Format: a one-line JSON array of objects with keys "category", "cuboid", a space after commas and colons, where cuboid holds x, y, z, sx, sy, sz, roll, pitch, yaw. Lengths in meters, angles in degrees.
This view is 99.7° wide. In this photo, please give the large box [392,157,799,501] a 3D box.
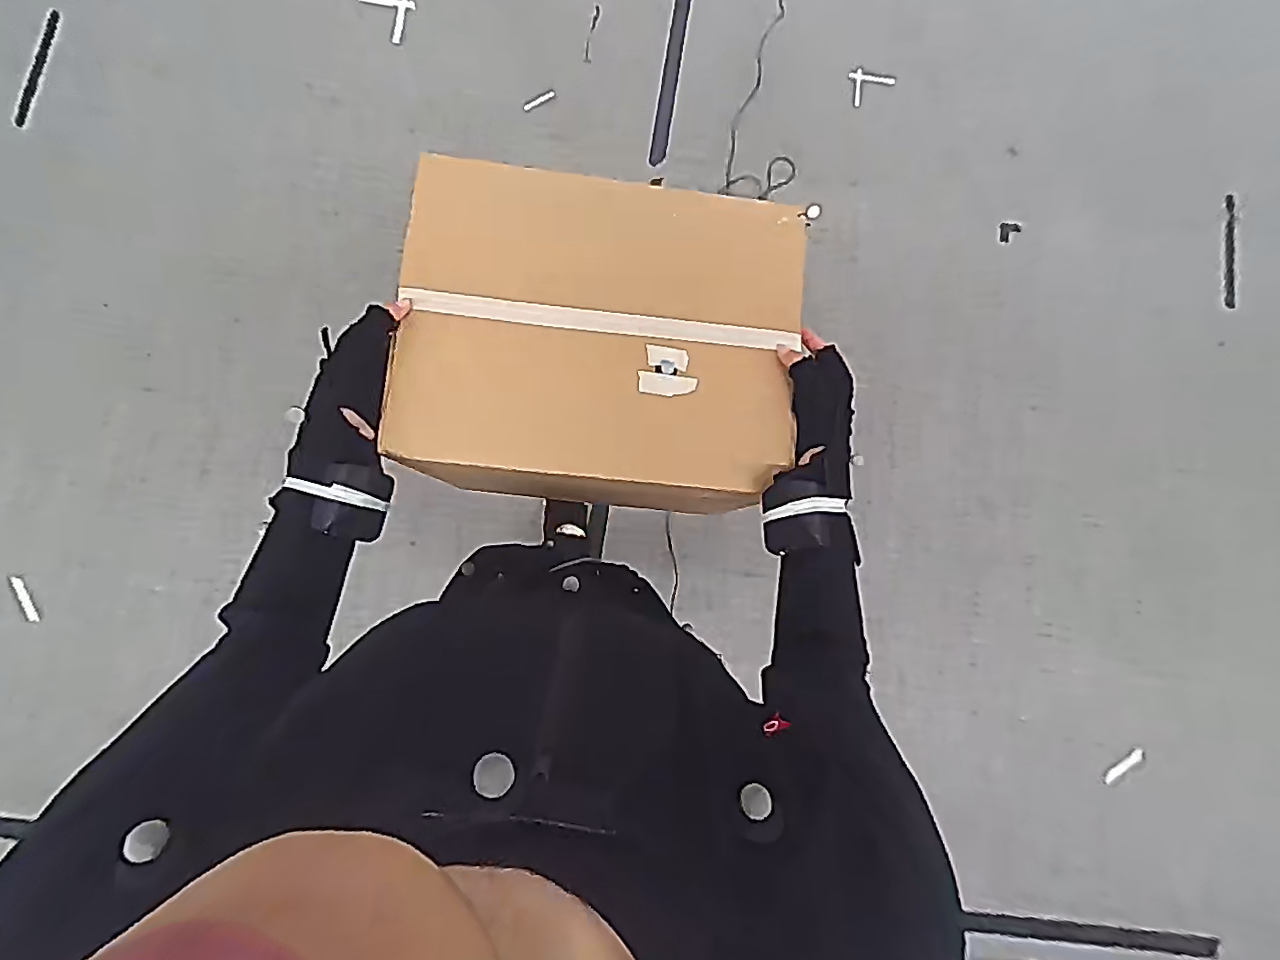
[{"category": "large box", "cuboid": [-0.050, -0.152, 0.706, 0.408, 0.320, 0.320, 6, 84, -5]}]
